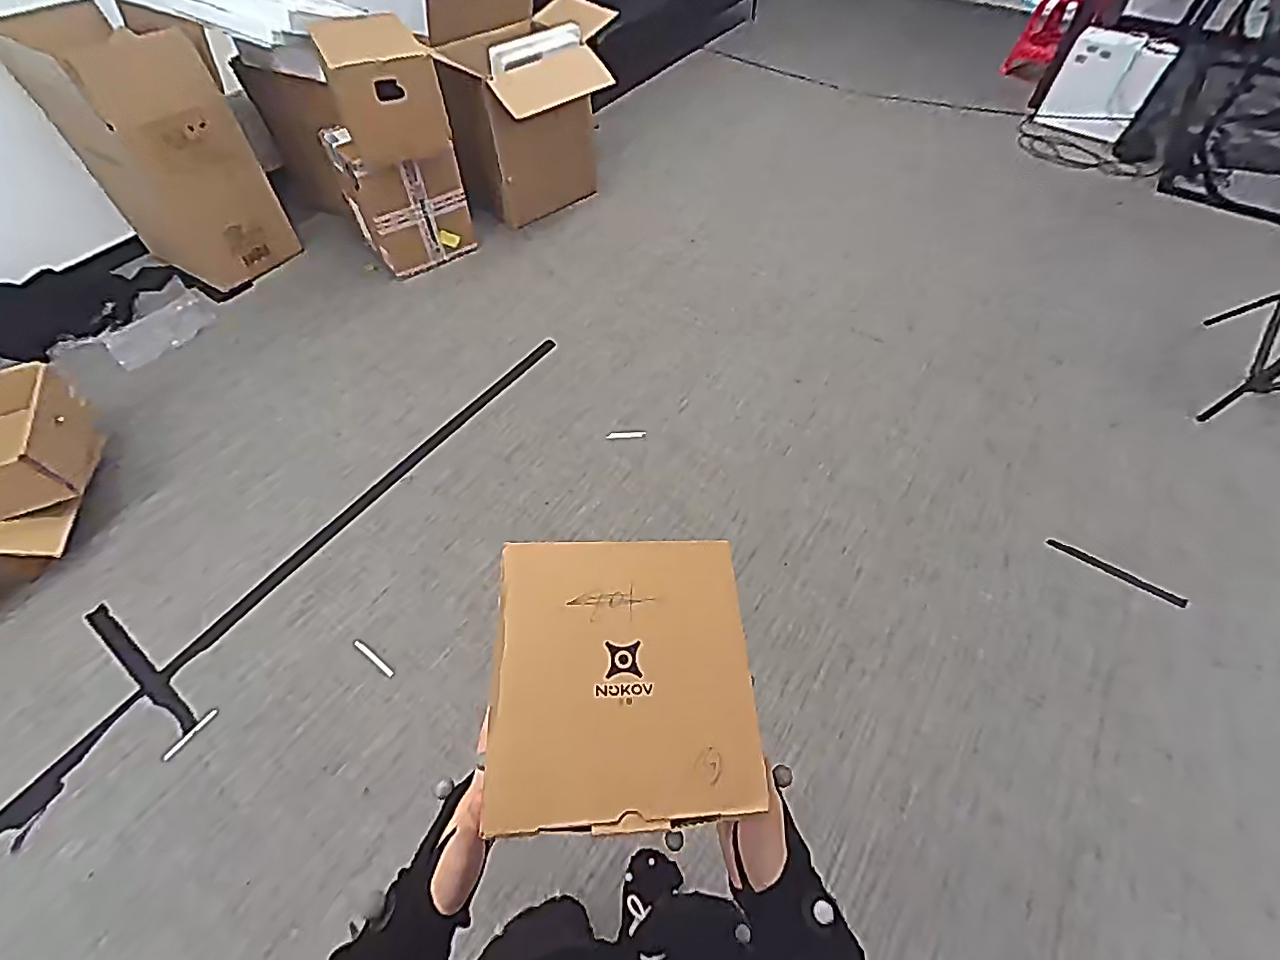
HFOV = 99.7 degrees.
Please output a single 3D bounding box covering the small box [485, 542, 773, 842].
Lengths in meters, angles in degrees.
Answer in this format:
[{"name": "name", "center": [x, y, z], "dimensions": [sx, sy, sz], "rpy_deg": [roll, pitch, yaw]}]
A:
[{"name": "small box", "center": [-0.017, 0.162, 0.411], "dimensions": [0.168, 0.176, 0.179], "rpy_deg": [0, 57, -8]}]
